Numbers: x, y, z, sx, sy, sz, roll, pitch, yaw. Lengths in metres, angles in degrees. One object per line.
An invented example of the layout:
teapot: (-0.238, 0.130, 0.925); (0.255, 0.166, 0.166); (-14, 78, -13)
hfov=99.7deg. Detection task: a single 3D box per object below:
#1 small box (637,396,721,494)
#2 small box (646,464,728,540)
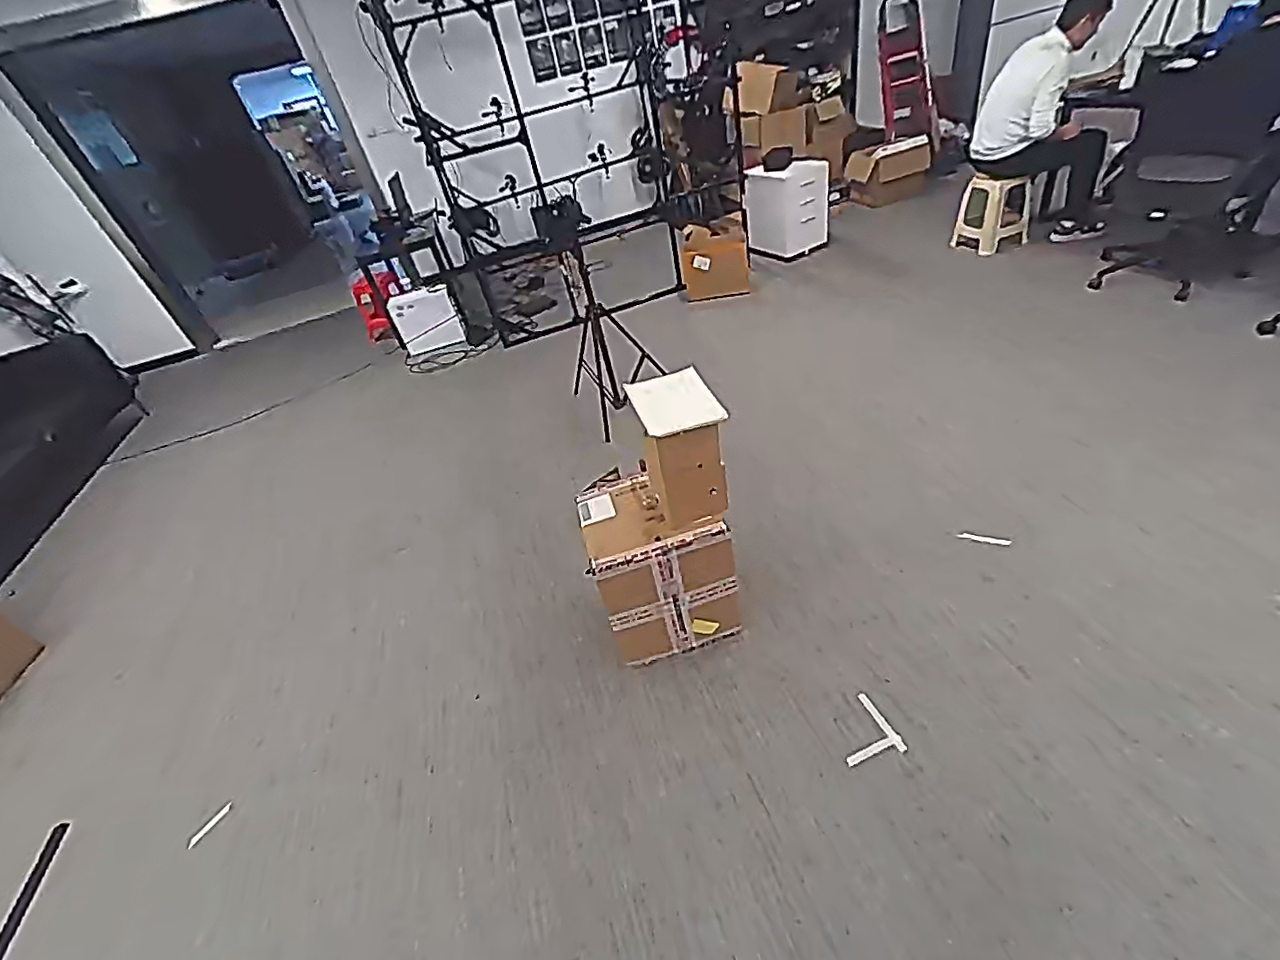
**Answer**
small box: (0.102, -0.093, 1.415); (0.168, 0.176, 0.179); (-18, 39, -8)
small box: (0.134, 0.037, 1.510); (0.179, 0.176, 0.168); (-20, 39, -9)
